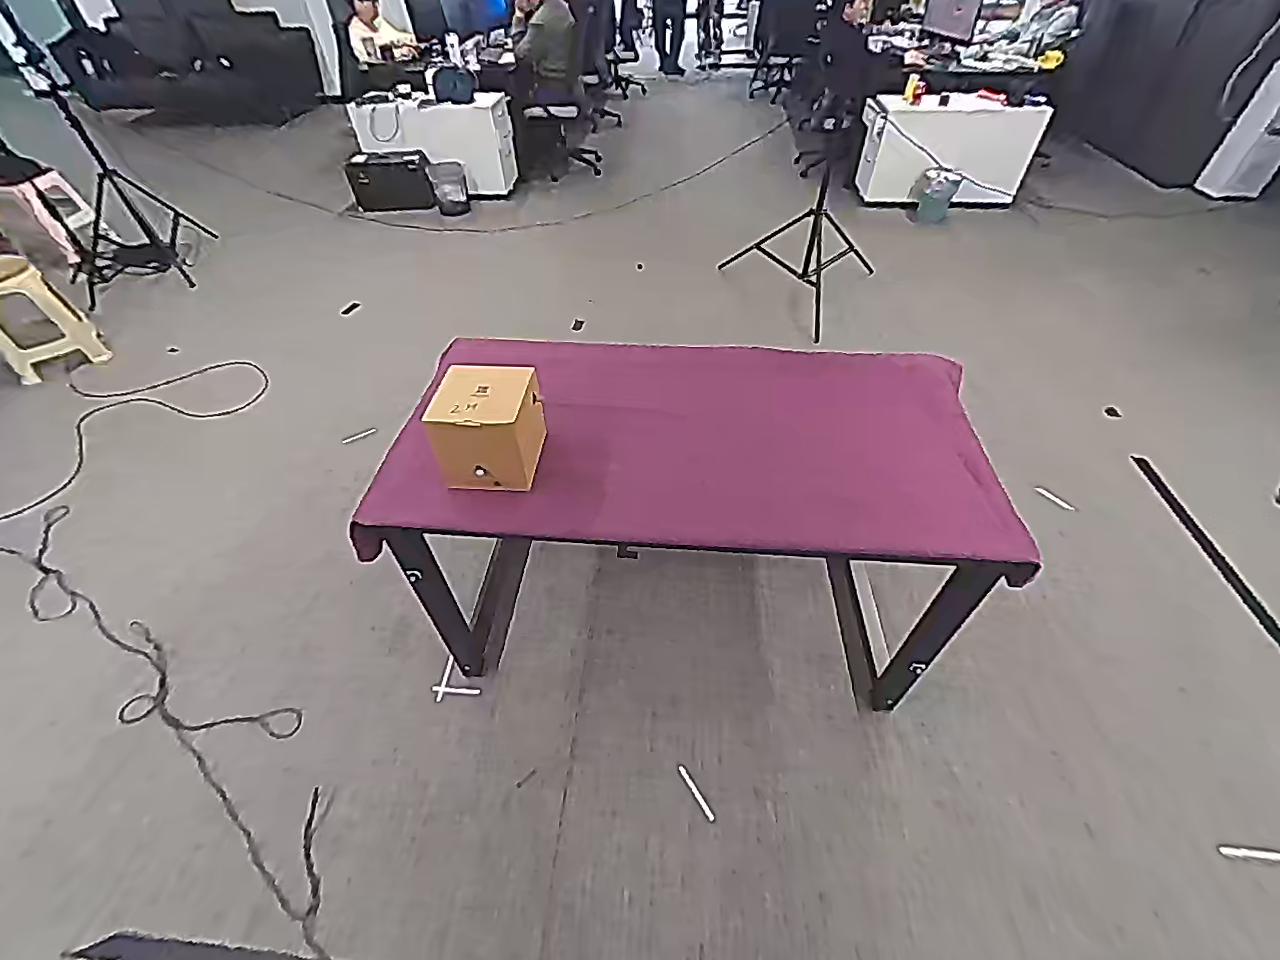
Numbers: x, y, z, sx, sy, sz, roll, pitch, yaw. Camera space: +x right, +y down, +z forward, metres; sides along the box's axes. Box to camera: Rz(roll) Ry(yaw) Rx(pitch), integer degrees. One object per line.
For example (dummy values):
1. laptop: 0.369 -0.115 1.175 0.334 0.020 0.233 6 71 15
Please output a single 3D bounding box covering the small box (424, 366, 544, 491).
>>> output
1. small box: -0.286 -0.100 1.038 0.168 0.176 0.179 2 46 3
